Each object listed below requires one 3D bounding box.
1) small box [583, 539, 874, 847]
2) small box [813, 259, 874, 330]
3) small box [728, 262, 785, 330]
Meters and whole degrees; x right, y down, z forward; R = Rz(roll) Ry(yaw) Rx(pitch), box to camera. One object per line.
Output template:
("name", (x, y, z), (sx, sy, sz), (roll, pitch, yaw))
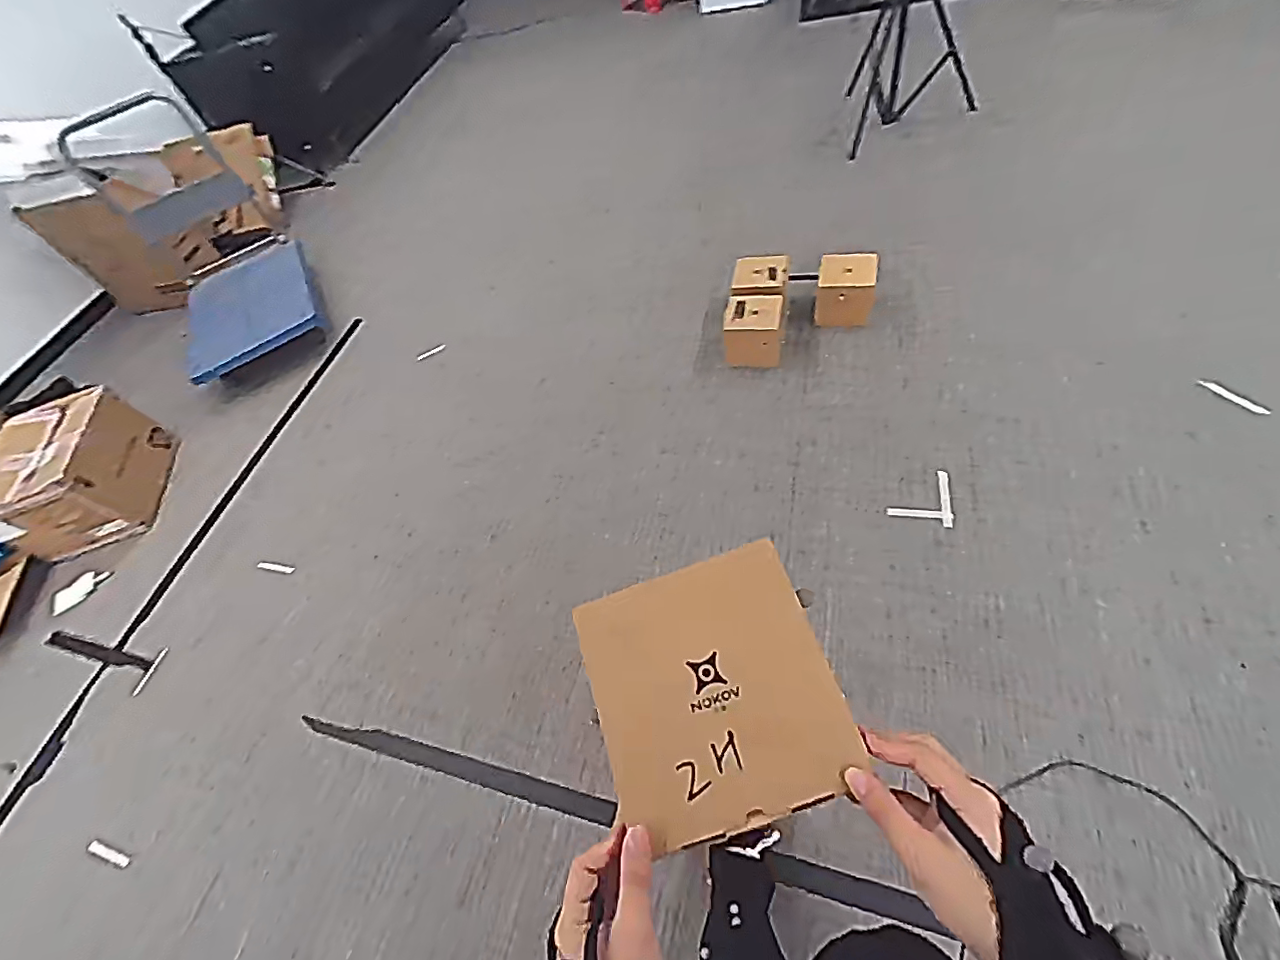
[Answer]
("small box", (0.067, 0.178, 0.460), (0.168, 0.176, 0.179), (-20, 63, 3))
("small box", (0.692, -0.630, 1.844), (0.179, 0.176, 0.168), (6, 59, 20))
("small box", (0.422, -0.655, 1.932), (0.179, 0.176, 0.168), (5, 58, 19))
